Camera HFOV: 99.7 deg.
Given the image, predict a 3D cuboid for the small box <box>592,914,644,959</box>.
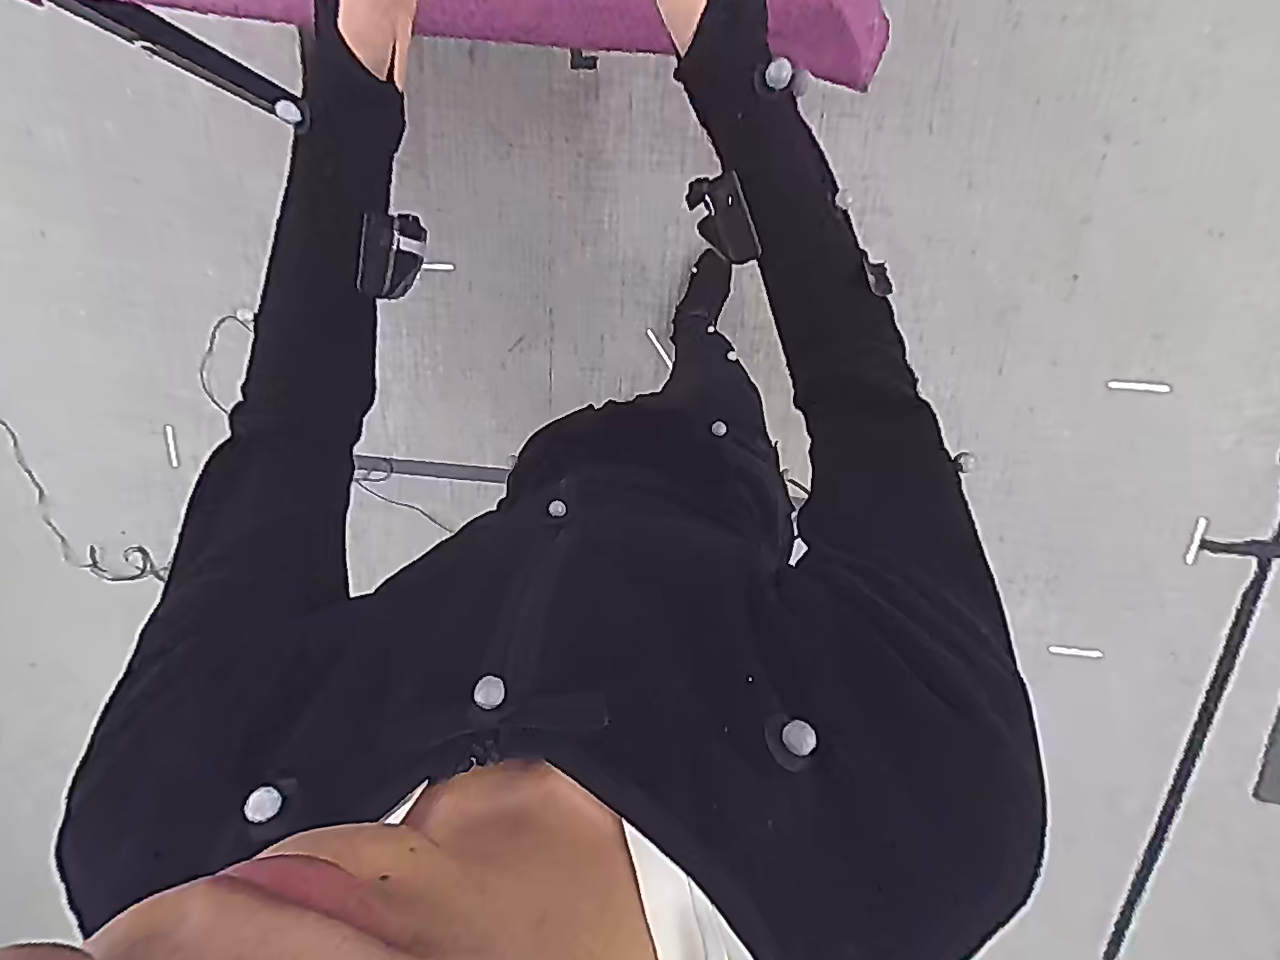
[{"bbox_3d":[-0.081,1.643,1.848,0.168,0.176,0.179,8,106,3],"label":"small box"}]
